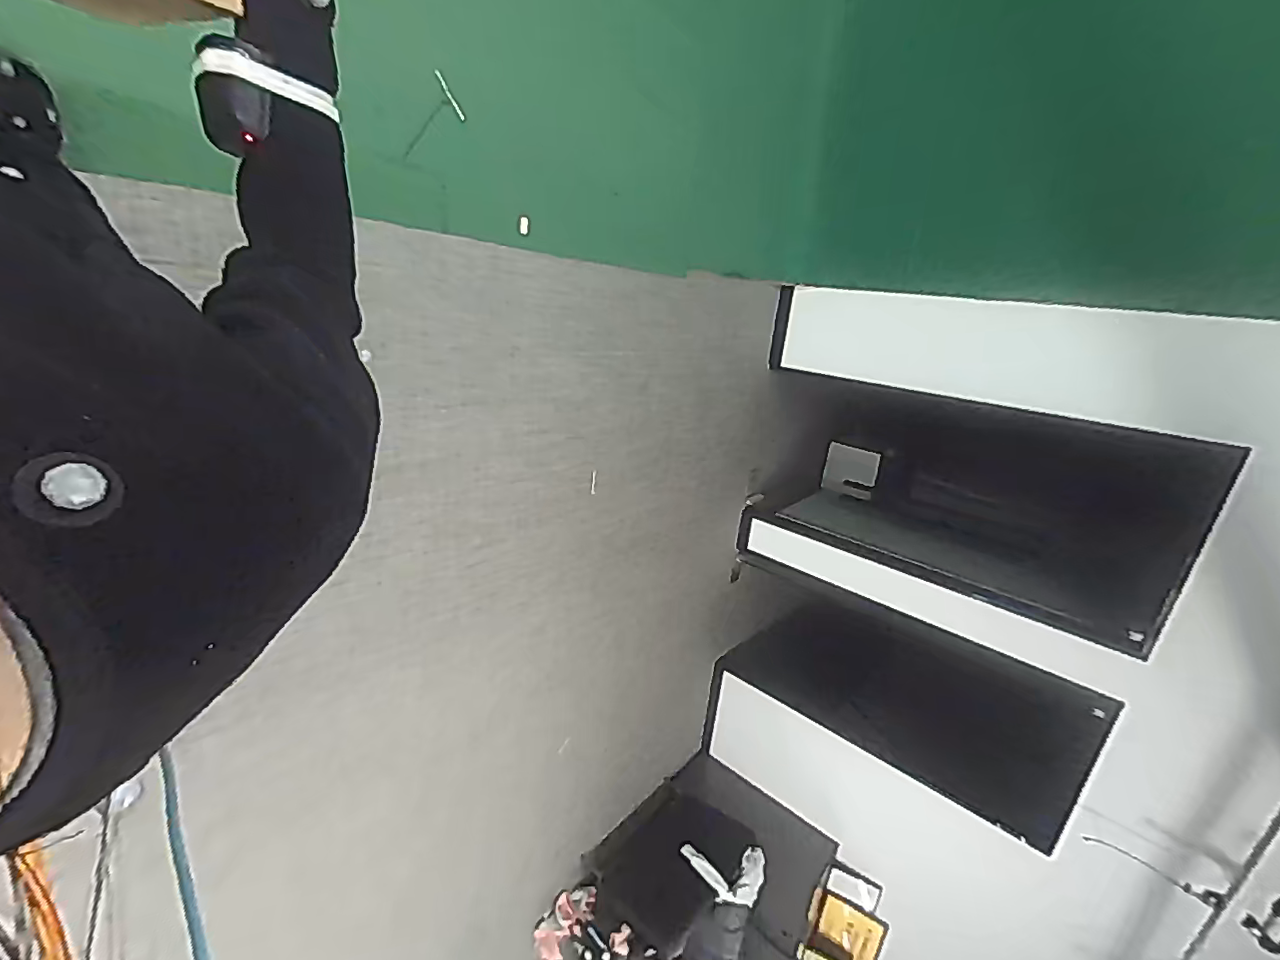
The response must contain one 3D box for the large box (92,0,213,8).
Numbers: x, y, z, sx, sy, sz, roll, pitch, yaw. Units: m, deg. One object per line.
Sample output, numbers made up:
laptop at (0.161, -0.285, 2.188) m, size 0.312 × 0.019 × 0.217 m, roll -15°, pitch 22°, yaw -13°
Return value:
large box at (-0.491, -0.500, 0.254) m, size 0.408 × 0.320 × 0.320 m, roll -14°, pitch 125°, yaw -49°
